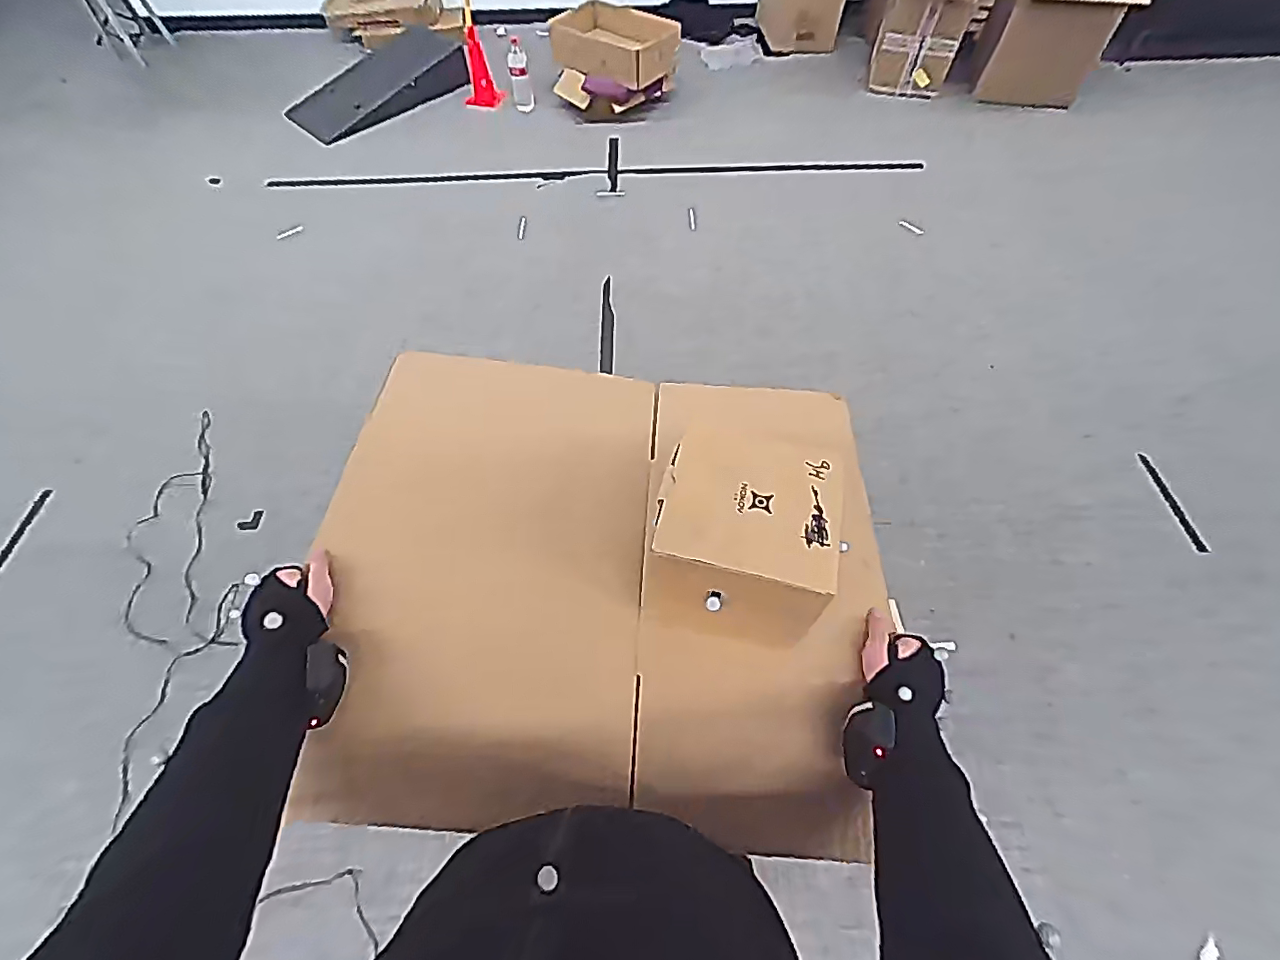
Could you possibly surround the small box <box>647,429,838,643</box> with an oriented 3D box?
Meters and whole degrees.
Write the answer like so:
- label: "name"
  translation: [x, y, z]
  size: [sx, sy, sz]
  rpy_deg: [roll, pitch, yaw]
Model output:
- label: "small box"
  translation: [0.112, 0.069, 0.616]
  size: [0.179, 0.176, 0.168]
  rpy_deg: [11, 56, 9]
